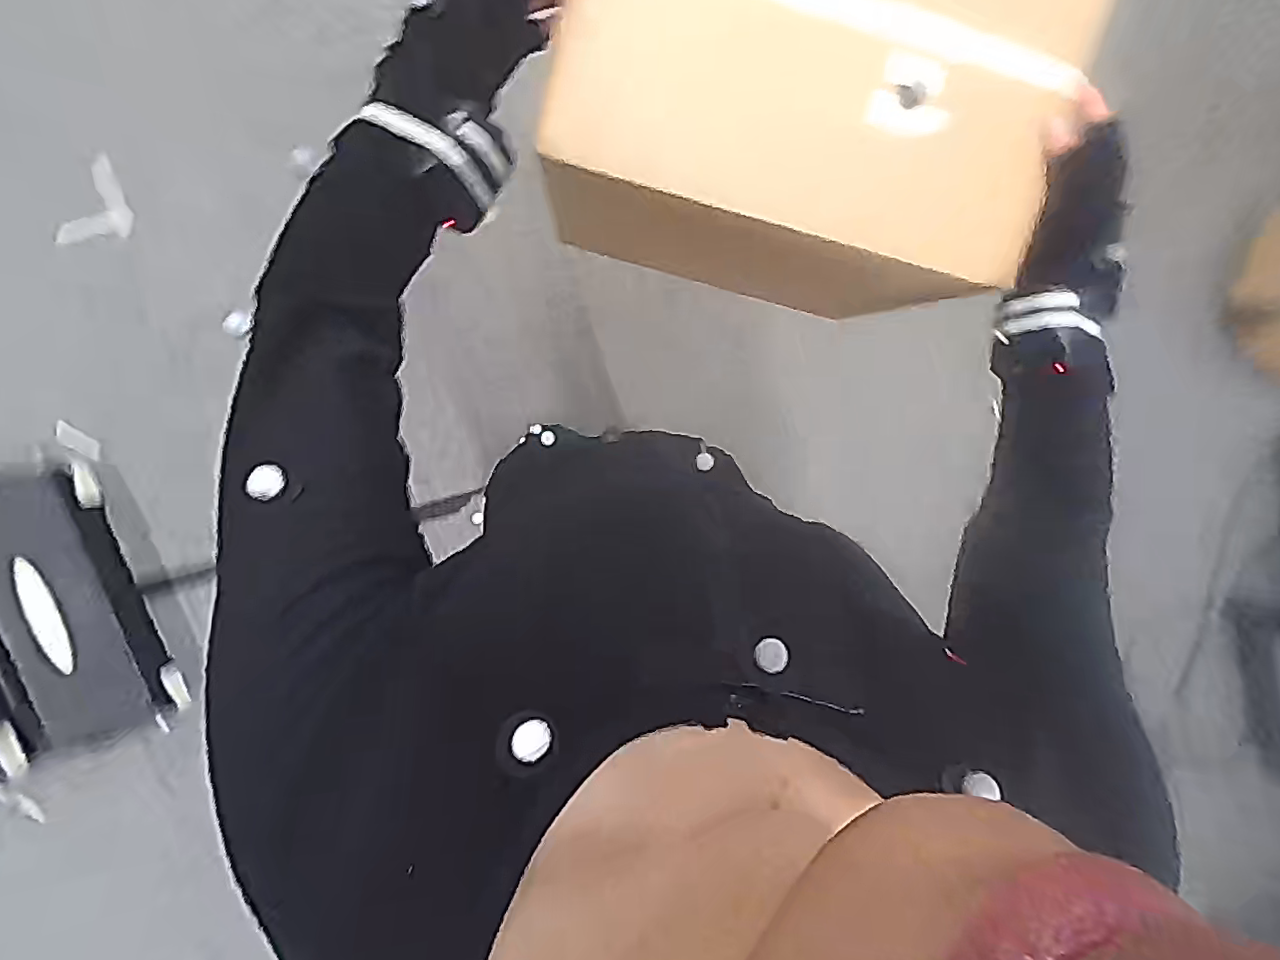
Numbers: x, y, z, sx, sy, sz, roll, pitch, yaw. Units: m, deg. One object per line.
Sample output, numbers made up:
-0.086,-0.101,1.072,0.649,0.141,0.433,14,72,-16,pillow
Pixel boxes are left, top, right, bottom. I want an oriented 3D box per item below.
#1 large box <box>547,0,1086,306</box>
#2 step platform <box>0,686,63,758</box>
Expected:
0.132,-0.391,0.560,0.408,0.320,0.320,11,101,-8,large box
-1.646,0.346,1.209,0.286,0.204,0.684,-19,95,-6,step platform
